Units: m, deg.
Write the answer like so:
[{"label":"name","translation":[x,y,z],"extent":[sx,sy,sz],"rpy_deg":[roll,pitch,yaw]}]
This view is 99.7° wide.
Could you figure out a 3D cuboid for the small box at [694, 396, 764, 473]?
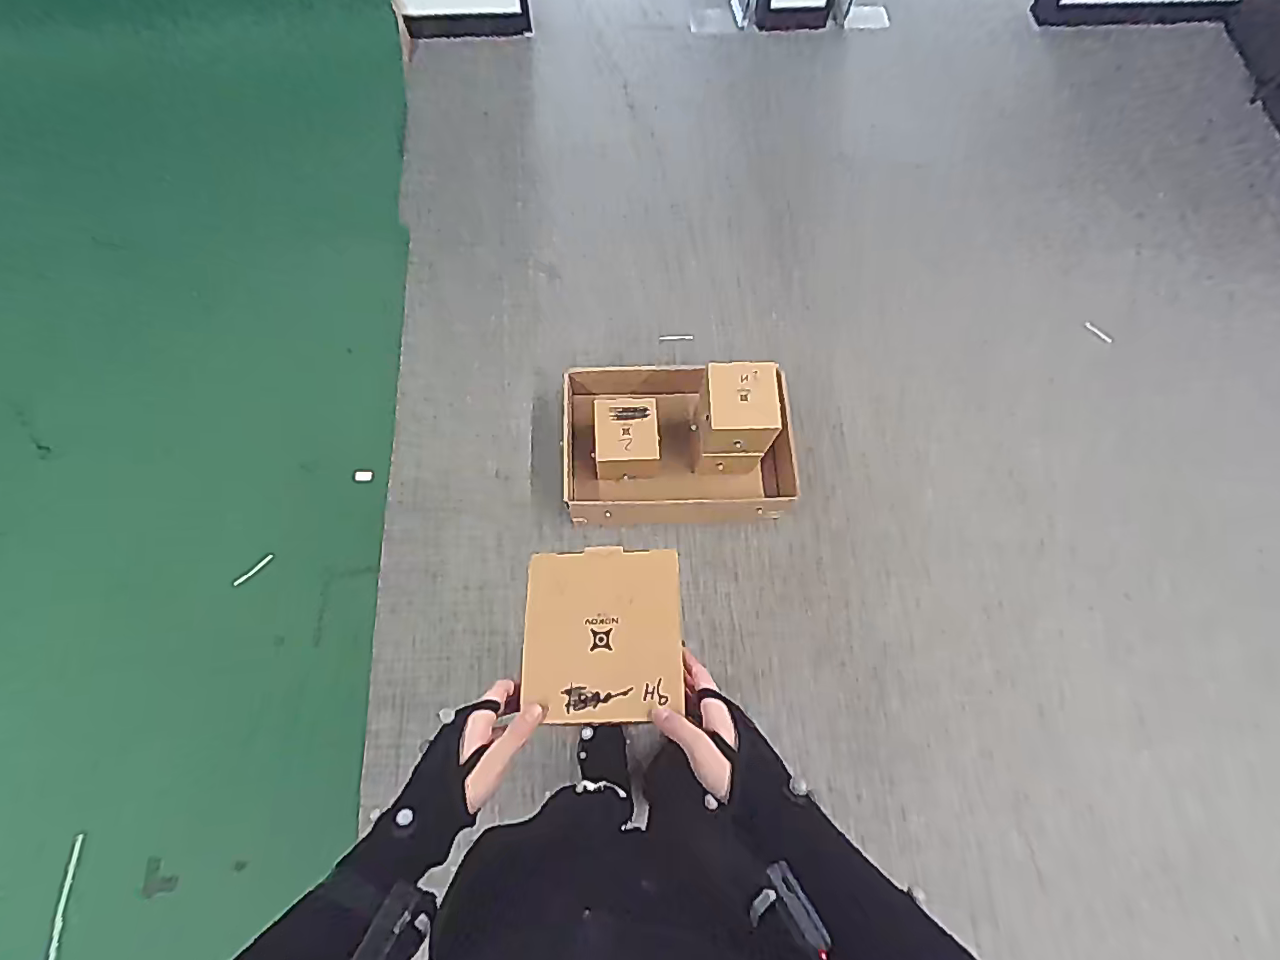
[{"label":"small box","translation":[0.241,-0.122,1.504],"extent":[0.168,0.176,0.179],"rpy_deg":[-1,72,-1]}]

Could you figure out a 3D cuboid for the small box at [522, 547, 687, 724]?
[{"label":"small box","translation":[-0.032,0.190,0.638],"extent":[0.168,0.176,0.179],"rpy_deg":[-3,65,3]}]

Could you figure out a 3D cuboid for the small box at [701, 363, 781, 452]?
[{"label":"small box","translation":[0.245,-0.175,1.347],"extent":[0.168,0.176,0.179],"rpy_deg":[-1,72,-1]}]
